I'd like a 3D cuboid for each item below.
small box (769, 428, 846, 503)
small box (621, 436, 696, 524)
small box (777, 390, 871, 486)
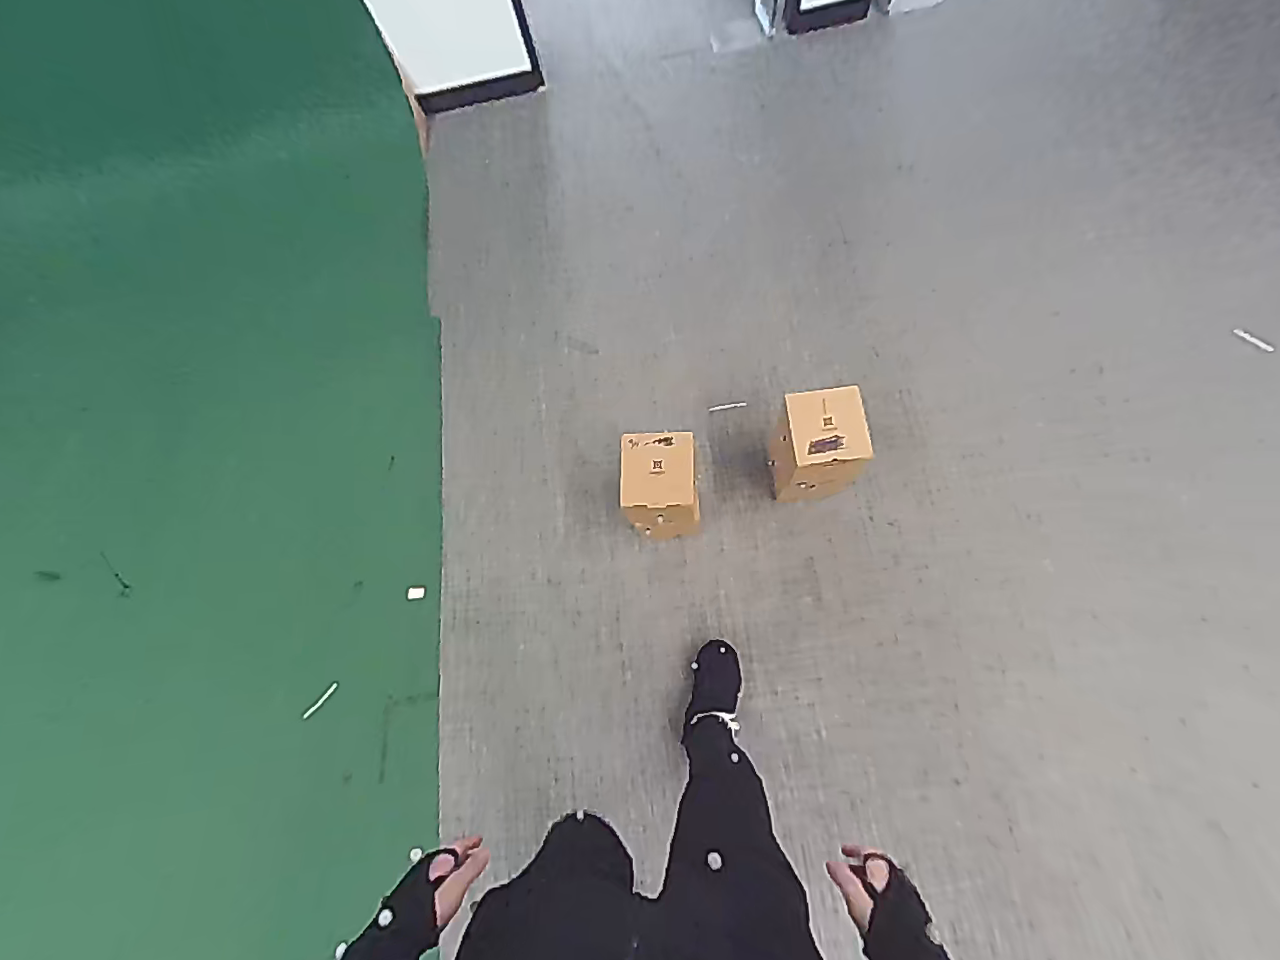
[{"bbox_3d":[0.443,-0.044,1.431,0.179,0.176,0.168,-8,72,5],"label":"small box"},{"bbox_3d":[0.050,0.006,1.295,0.168,0.176,0.179,-1,72,7],"label":"small box"},{"bbox_3d":[0.425,-0.090,1.275,0.168,0.176,0.179,-6,71,5],"label":"small box"}]
